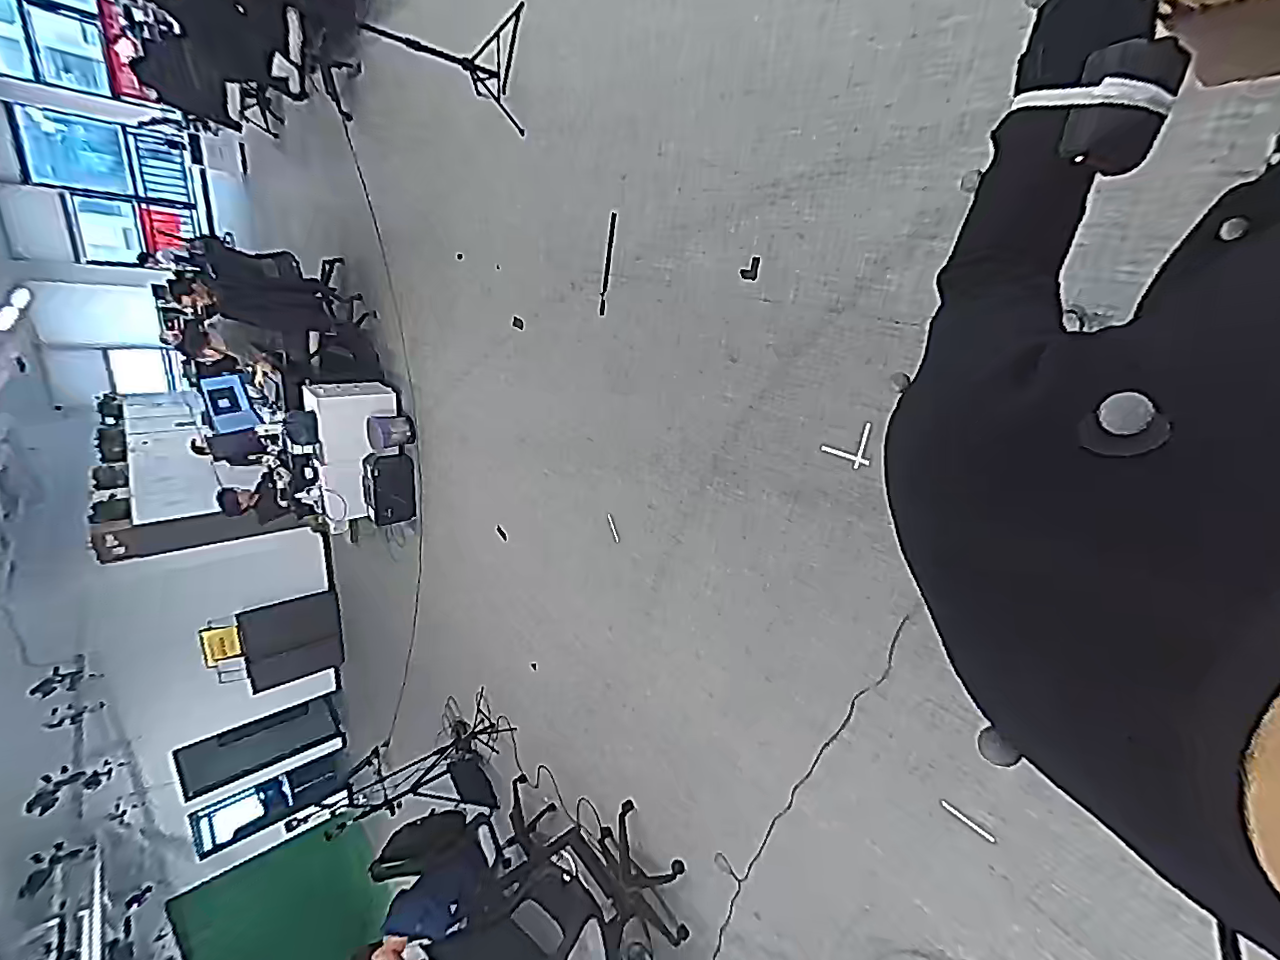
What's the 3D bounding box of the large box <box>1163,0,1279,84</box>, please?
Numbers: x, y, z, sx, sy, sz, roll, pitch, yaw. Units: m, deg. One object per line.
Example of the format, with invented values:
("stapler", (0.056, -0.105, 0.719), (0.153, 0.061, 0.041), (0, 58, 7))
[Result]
("large box", (0.569, -0.435, 0.249), (0.408, 0.320, 0.320), (20, 123, 43))
